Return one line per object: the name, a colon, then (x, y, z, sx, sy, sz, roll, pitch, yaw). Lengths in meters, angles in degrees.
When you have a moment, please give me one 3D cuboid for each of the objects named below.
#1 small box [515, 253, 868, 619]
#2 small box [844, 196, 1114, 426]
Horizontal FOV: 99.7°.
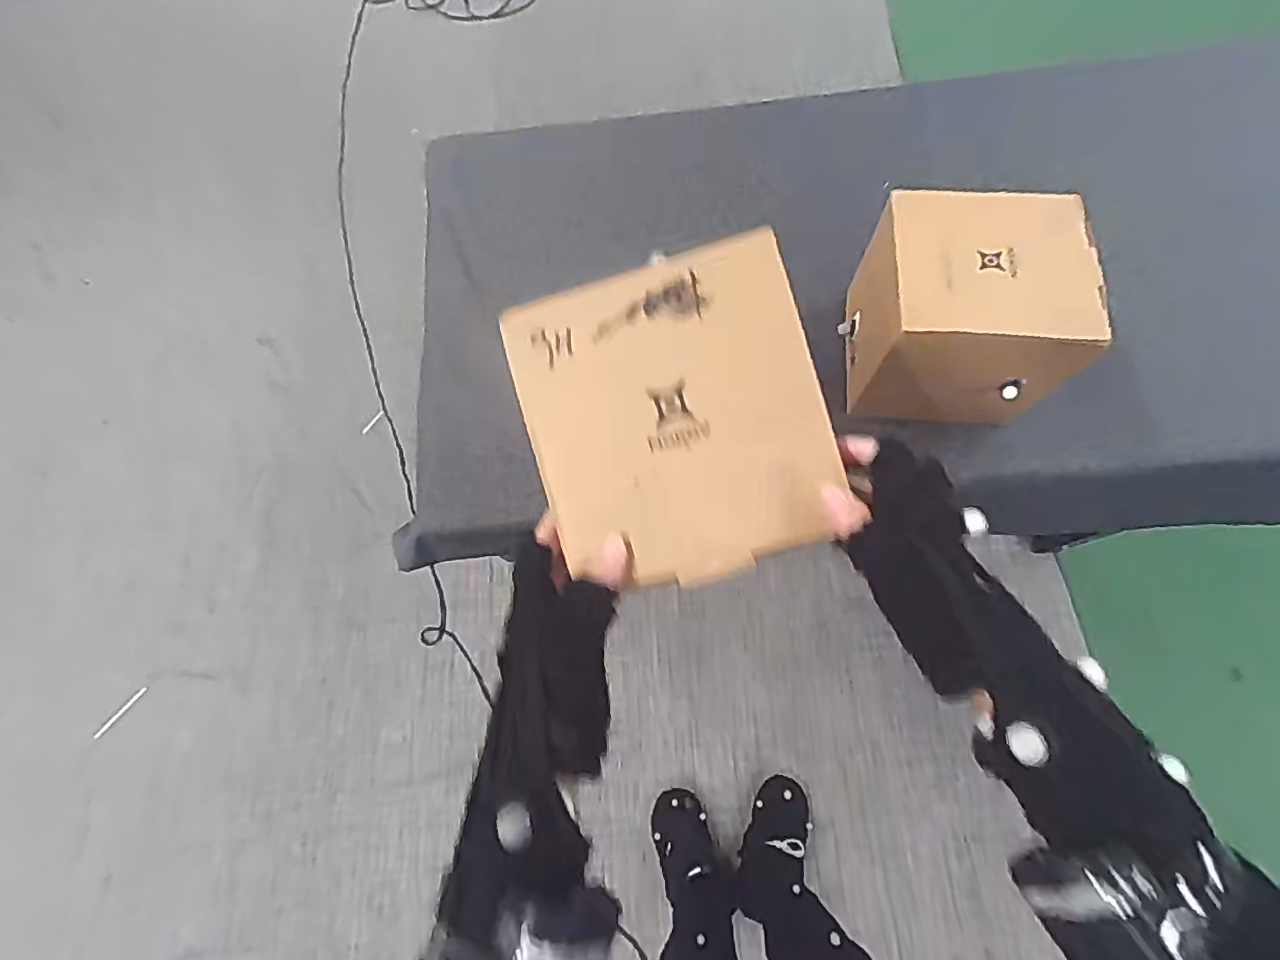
small box: (0.035, -0.025, 0.386, 0.168, 0.176, 0.179, -16, 90, 4)
small box: (0.332, -0.167, 0.572, 0.179, 0.176, 0.168, 3, 68, 4)
